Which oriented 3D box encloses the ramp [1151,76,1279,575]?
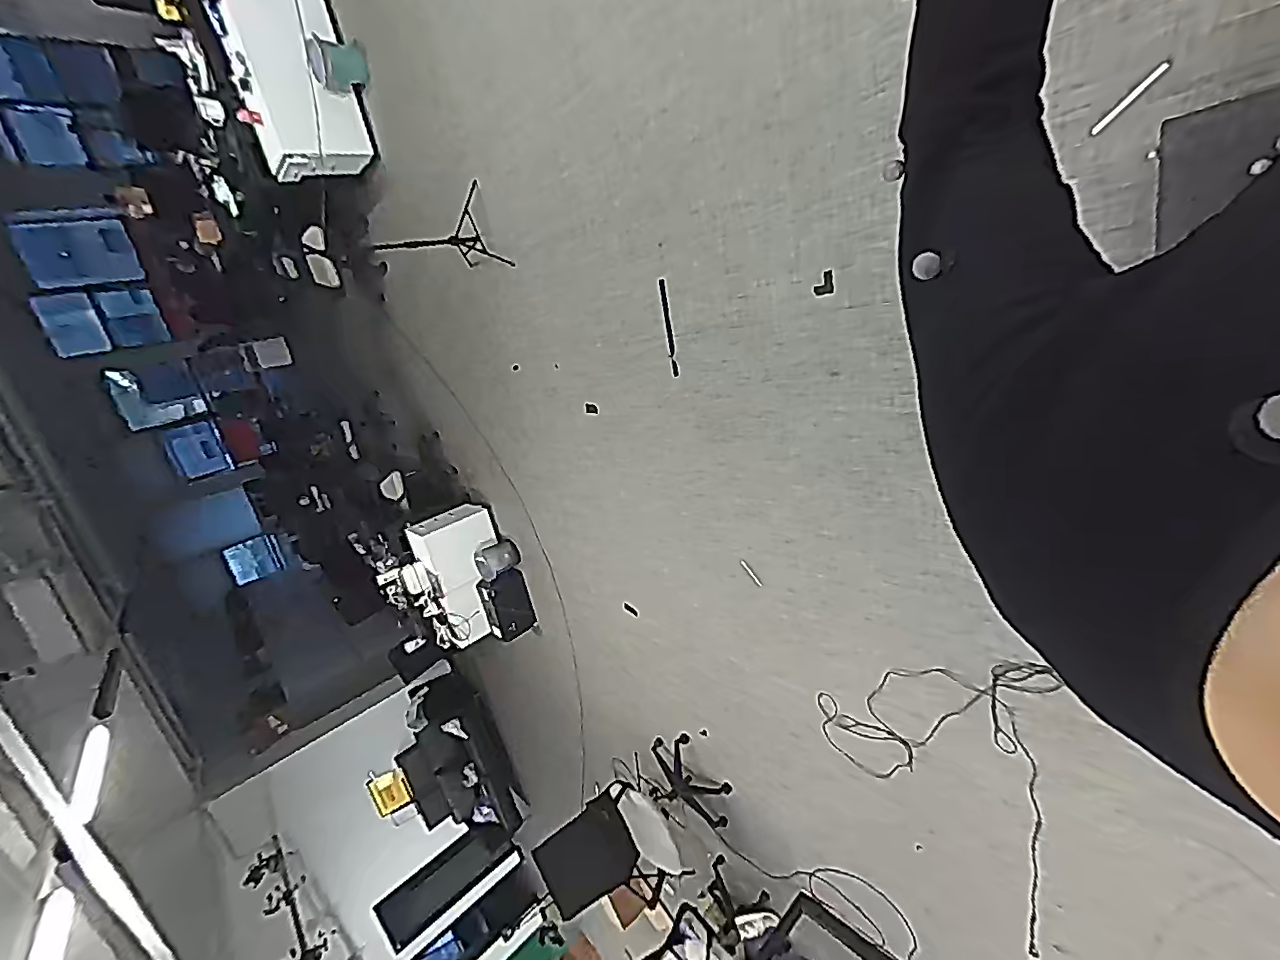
[{"bbox_3d":[1.272,-0.214,0.974,0.509,0.206,0.991,5,115,49],"label":"ramp"}]
